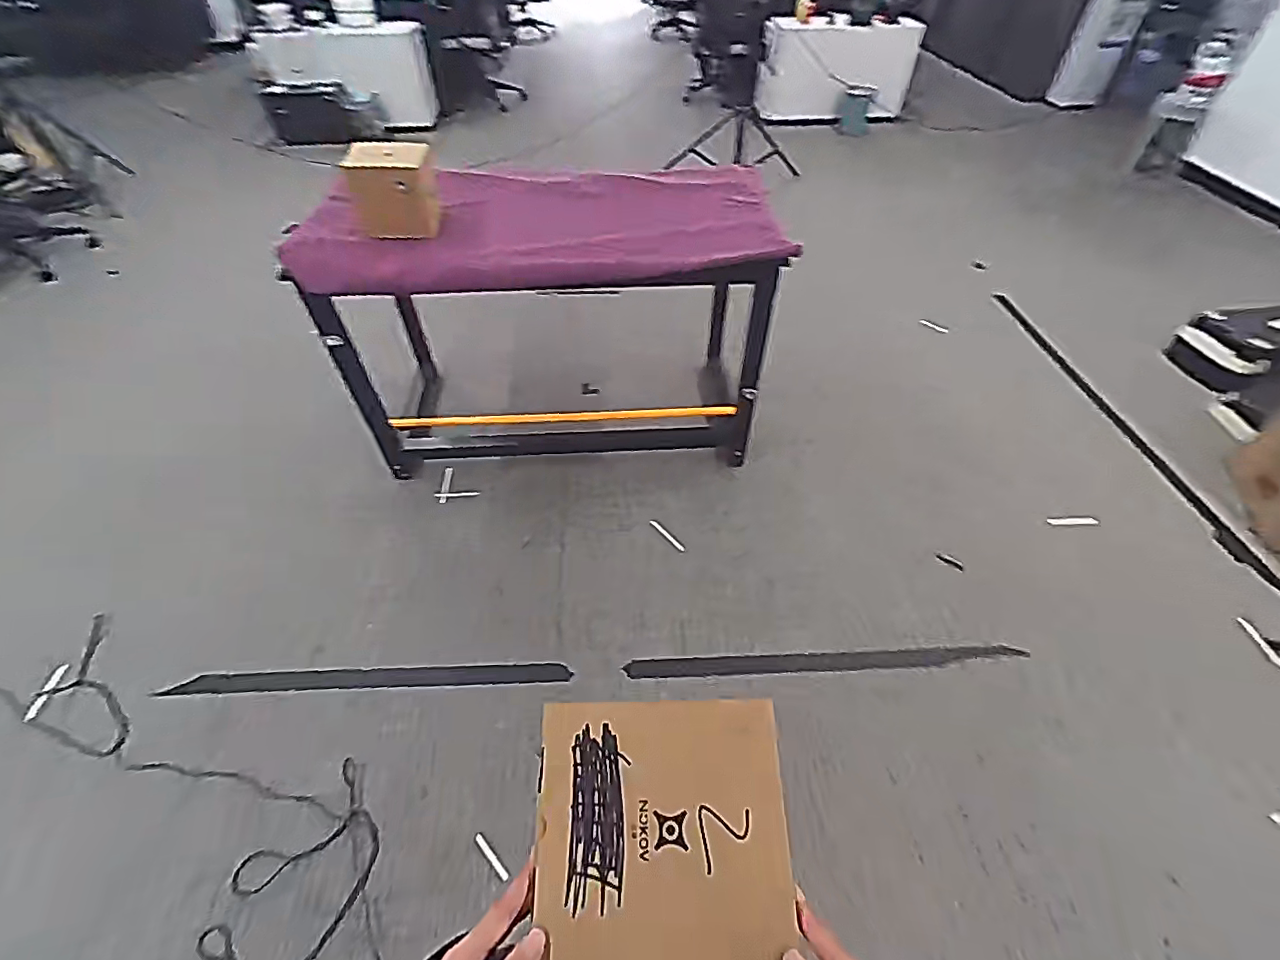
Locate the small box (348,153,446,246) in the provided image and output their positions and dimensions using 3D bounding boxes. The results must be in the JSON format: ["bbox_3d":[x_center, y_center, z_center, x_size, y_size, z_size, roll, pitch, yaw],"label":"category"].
[{"bbox_3d":[-0.606,-0.710,1.377,0.179,0.176,0.168,-3,47,-5],"label":"small box"}]
